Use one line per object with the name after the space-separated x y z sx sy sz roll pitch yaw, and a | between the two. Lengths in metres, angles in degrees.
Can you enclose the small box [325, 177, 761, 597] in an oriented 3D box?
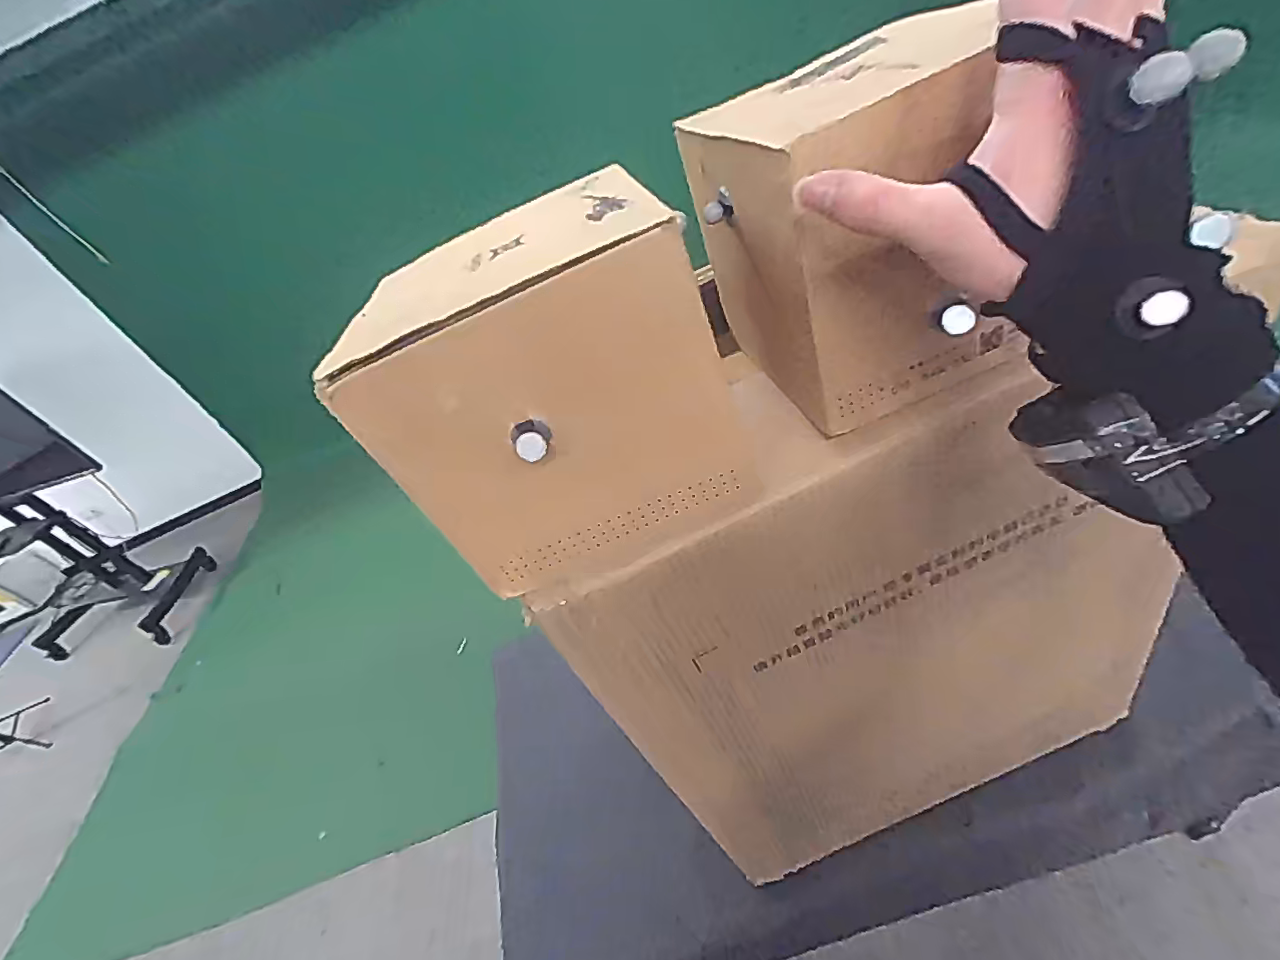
-0.045 -0.055 0.340 0.179 0.176 0.168 -22 39 4 | small box
